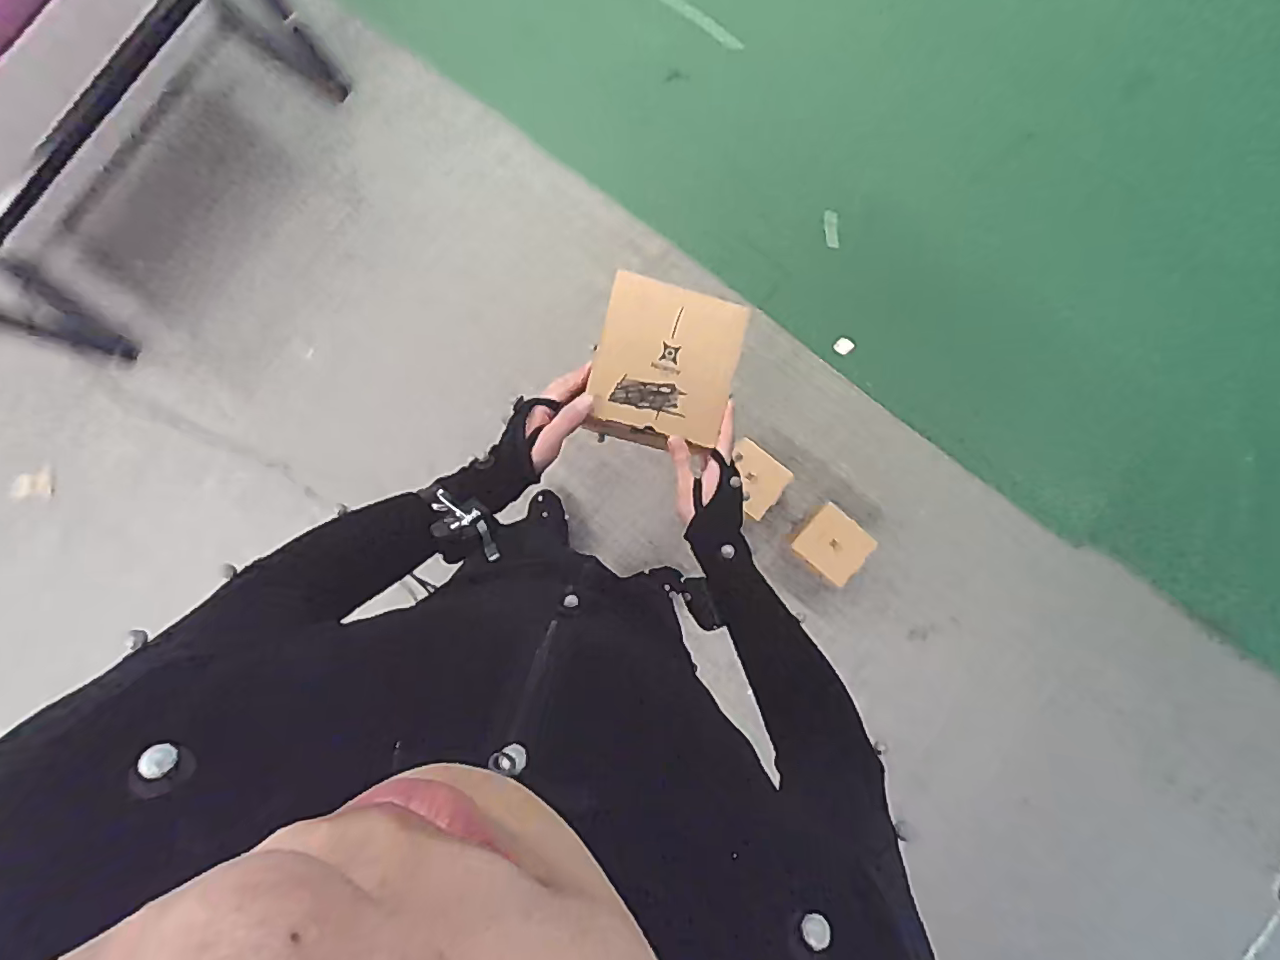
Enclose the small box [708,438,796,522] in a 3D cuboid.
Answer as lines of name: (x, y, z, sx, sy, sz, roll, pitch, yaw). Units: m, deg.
small box: (0.315, 0.001, 1.558, 0.179, 0.176, 0.168, 40, 89, 4)
